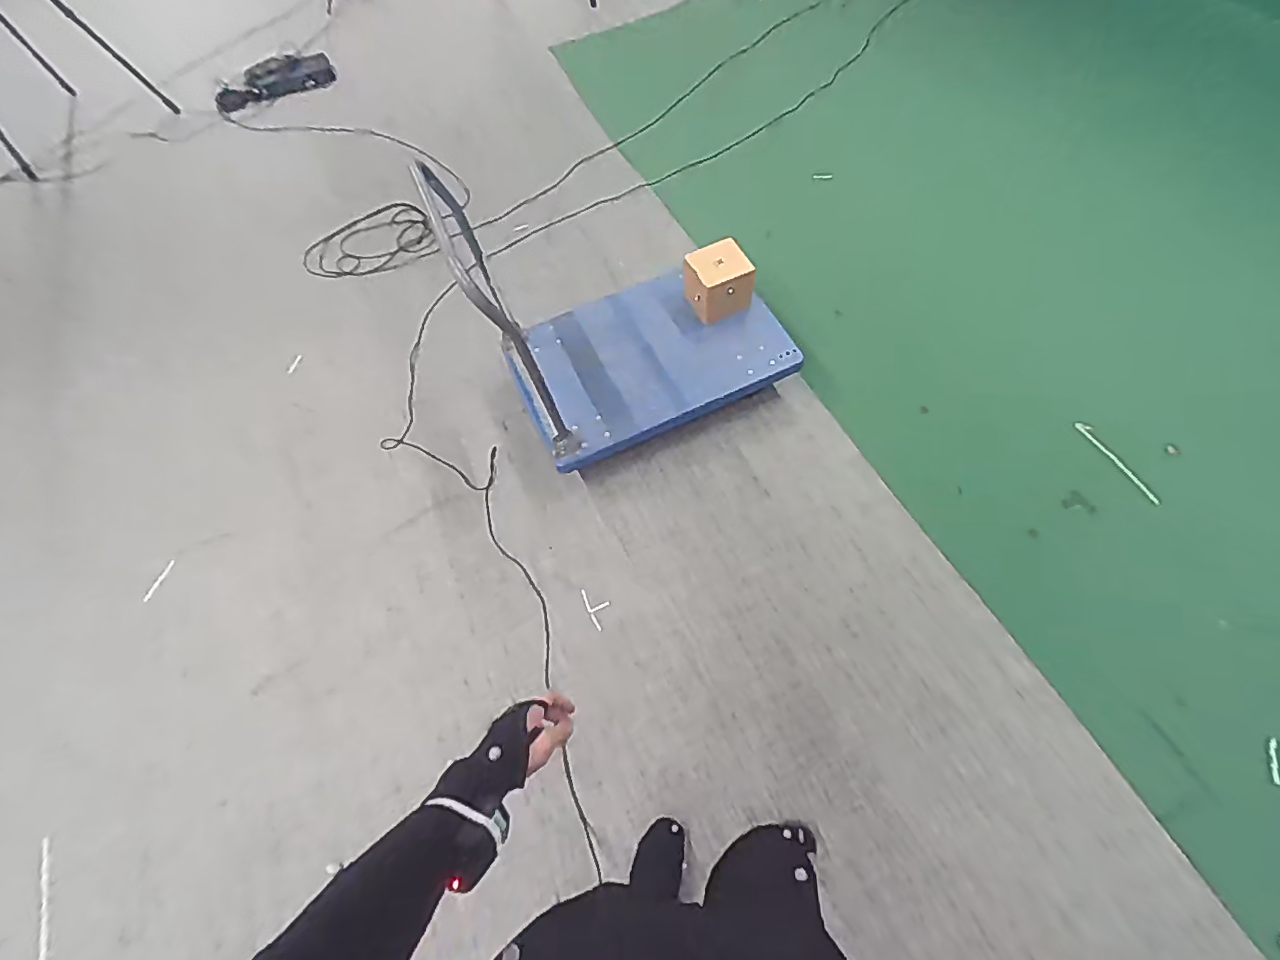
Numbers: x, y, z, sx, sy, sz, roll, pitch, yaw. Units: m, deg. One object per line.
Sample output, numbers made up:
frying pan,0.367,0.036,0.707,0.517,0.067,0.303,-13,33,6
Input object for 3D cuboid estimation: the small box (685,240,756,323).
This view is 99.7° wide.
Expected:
small box,0.263,-0.650,1.786,0.179,0.176,0.168,-23,64,-6
